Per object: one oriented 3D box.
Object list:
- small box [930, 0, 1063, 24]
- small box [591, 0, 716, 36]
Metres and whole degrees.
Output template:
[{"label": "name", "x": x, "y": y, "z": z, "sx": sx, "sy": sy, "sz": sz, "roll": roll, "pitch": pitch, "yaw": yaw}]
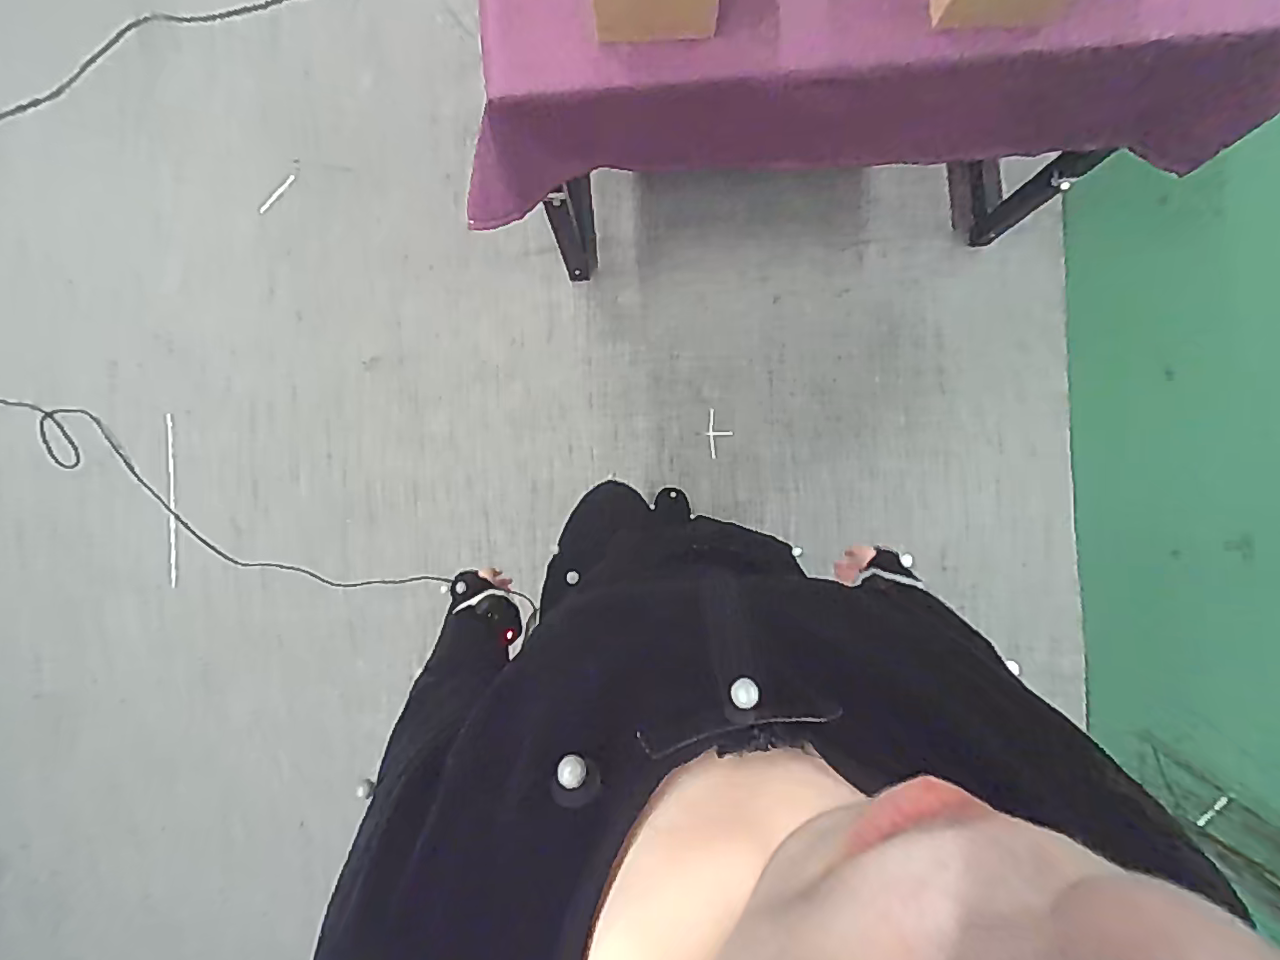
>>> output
[{"label": "small box", "x": 0.504, "y": -0.738, "z": 0.699, "sx": 0.179, "sy": 0.176, "sz": 0.168, "roll": -2, "pitch": 88, "yaw": 2}, {"label": "small box", "x": 0.018, "y": -0.724, "z": 0.704, "sx": 0.179, "sy": 0.176, "sz": 0.168, "roll": -1, "pitch": 89, "yaw": 0}]
